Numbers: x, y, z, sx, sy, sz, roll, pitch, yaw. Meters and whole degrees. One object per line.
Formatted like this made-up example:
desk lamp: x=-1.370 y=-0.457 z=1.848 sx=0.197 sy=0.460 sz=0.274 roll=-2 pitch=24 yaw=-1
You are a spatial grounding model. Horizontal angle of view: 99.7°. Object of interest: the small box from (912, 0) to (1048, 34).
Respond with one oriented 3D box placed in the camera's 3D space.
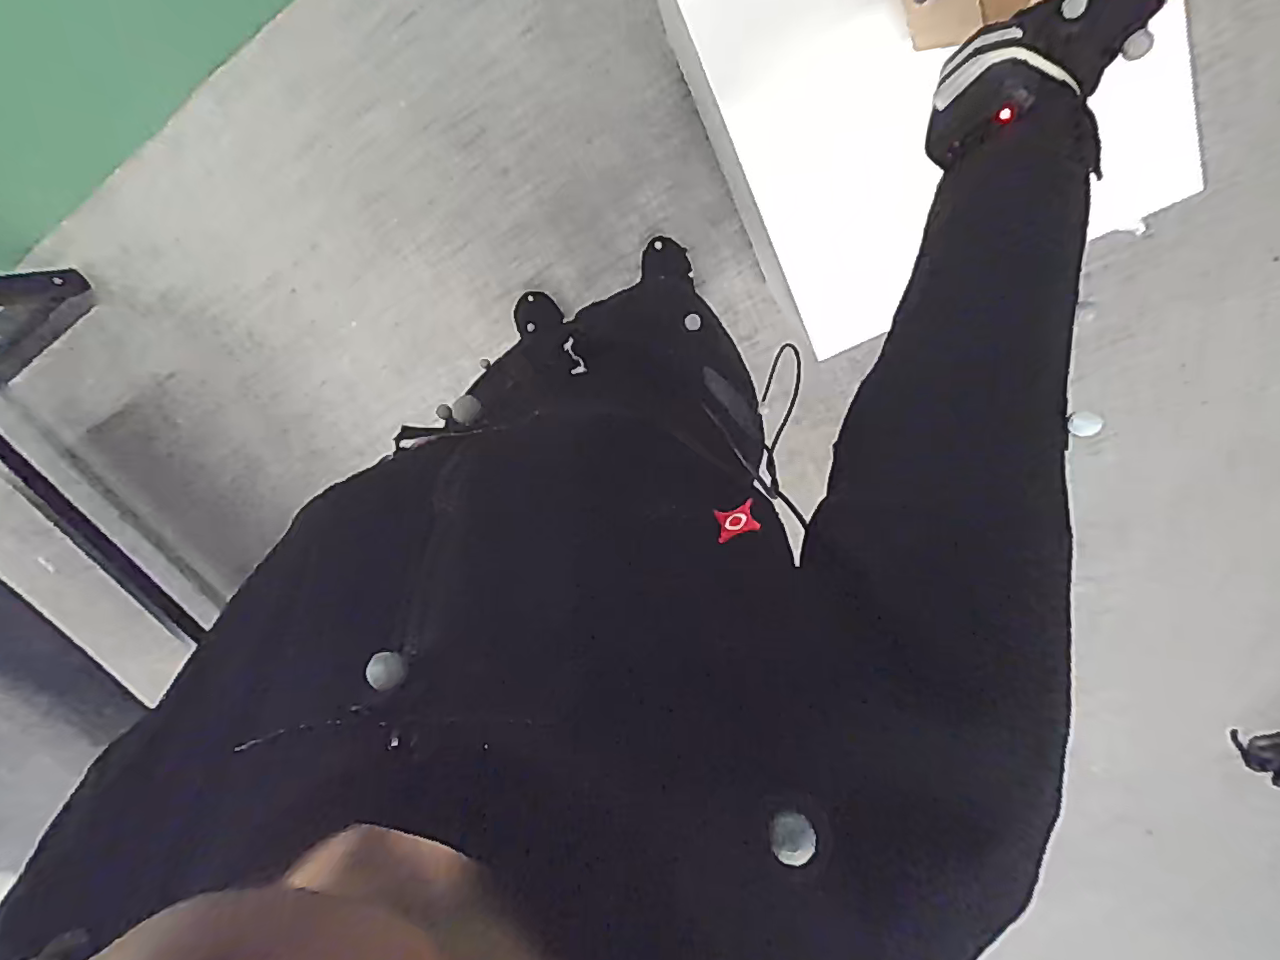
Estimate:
small box: x=0.278 y=-0.446 z=0.365 sx=0.168 sy=0.176 sz=0.179 roll=-23 pitch=119 yaw=21
